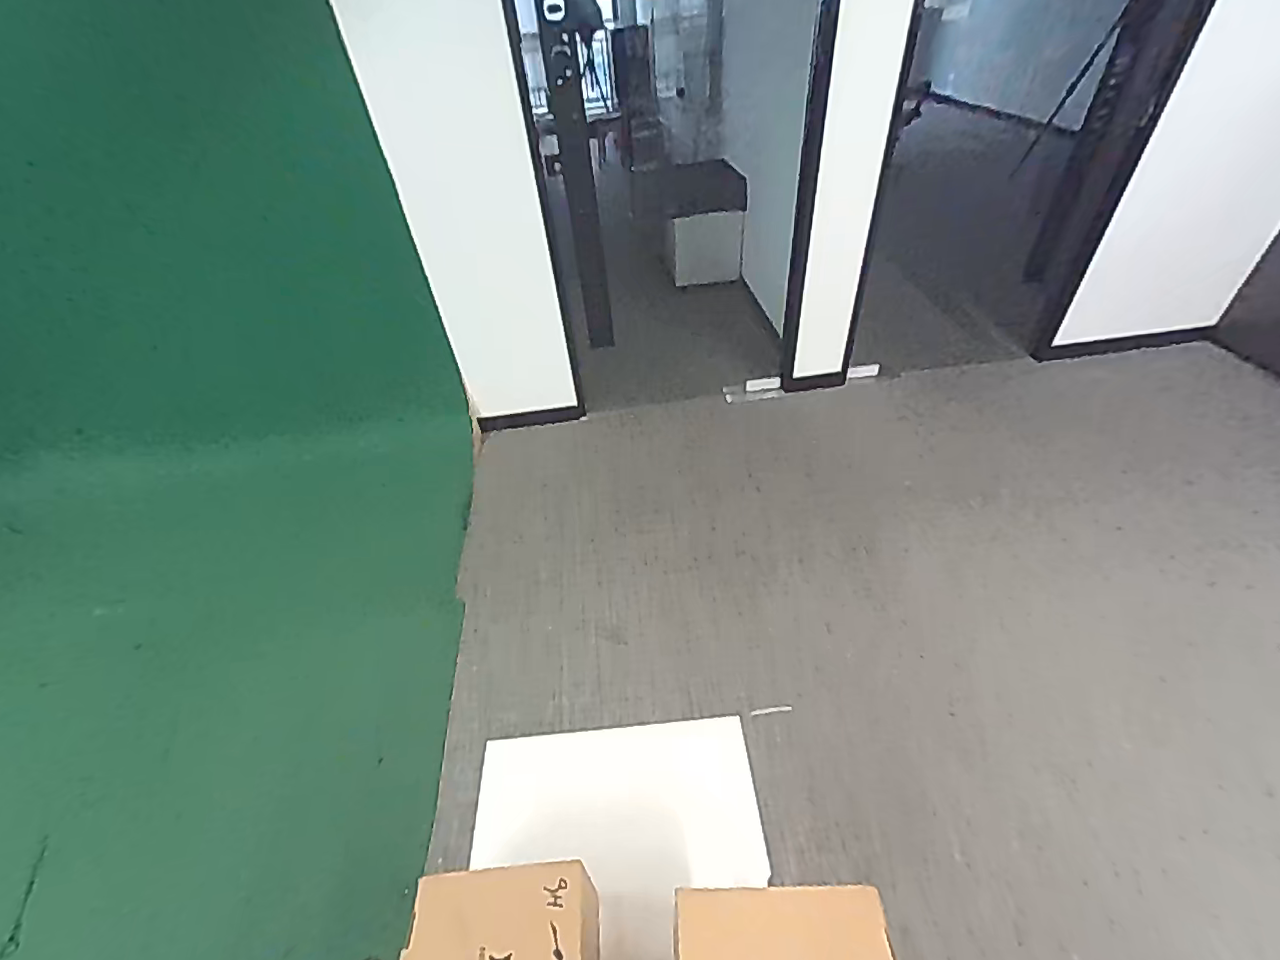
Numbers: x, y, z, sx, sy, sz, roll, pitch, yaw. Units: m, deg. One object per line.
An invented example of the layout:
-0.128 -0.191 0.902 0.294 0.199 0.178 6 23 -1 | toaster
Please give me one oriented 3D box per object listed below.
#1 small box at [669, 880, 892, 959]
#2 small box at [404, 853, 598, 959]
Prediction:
0.114 0.461 0.457 0.179 0.176 0.168 0 41 0 | small box
-0.141 0.525 0.580 0.179 0.176 0.168 -5 43 -1 | small box
